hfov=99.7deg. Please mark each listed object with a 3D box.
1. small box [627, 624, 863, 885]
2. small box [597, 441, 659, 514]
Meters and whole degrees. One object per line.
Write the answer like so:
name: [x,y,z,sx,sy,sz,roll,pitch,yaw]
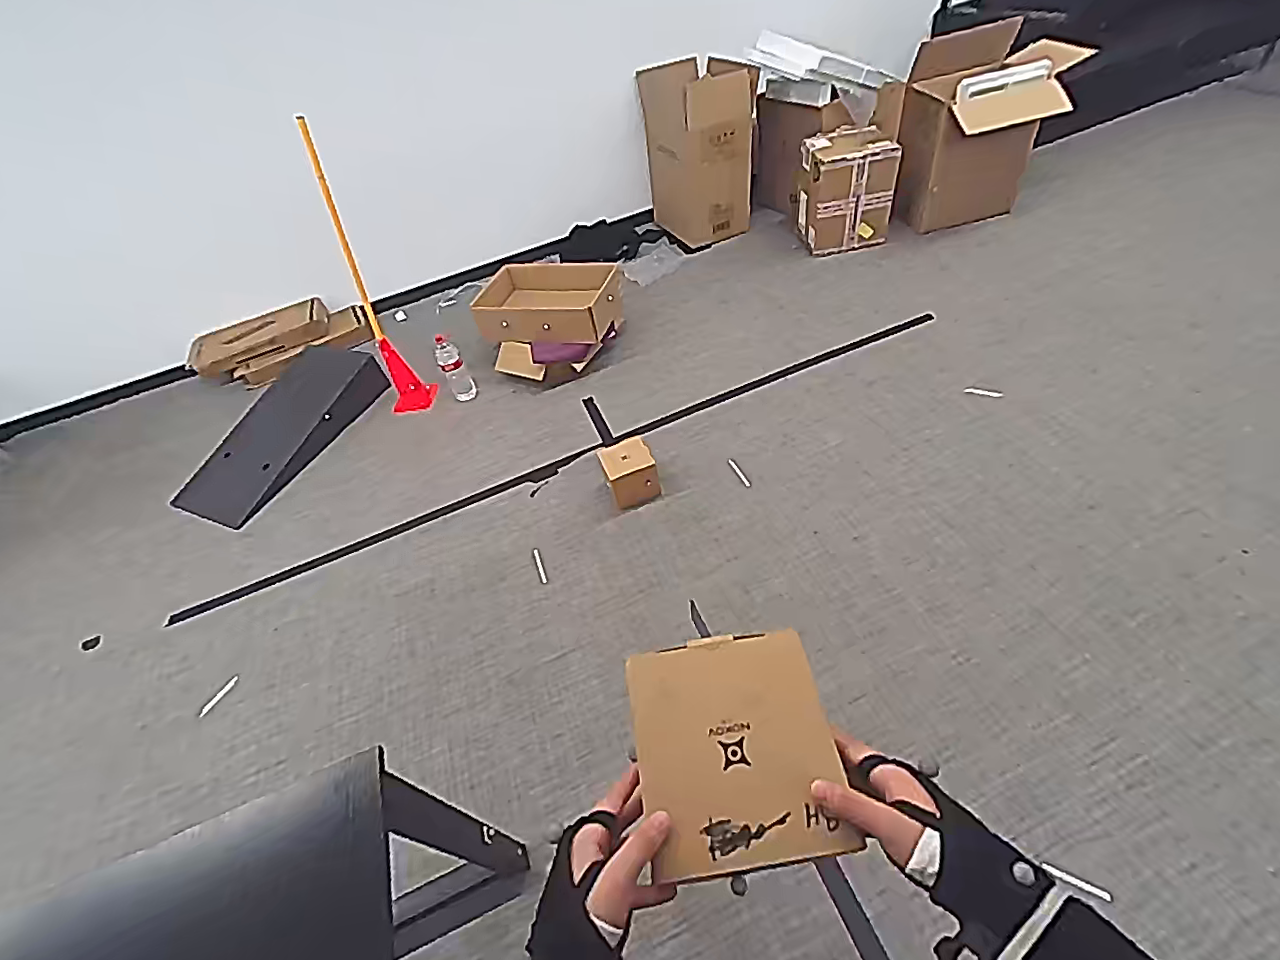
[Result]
small box: [0.085,0.266,0.519,0.168,0.176,0.179,-11,51,0]
small box: [-0.037,-0.007,1.999,0.179,0.176,0.168,-23,46,-8]
